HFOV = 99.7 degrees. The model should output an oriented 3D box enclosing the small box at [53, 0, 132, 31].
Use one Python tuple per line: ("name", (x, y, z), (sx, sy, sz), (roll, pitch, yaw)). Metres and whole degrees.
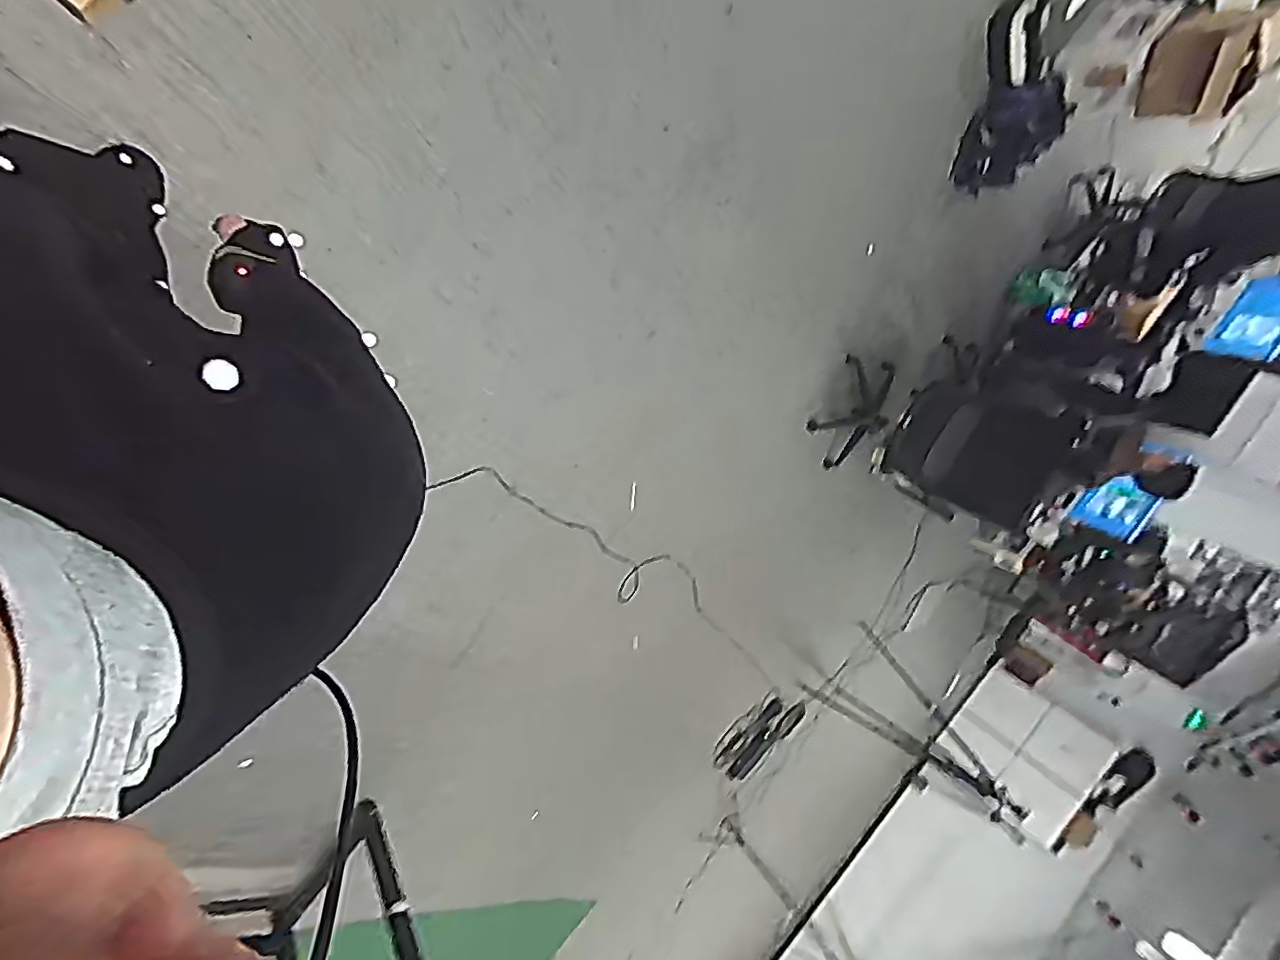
("small box", (-0.902, -0.855, 0.845), (0.179, 0.176, 0.168), (-50, 135, -3))
